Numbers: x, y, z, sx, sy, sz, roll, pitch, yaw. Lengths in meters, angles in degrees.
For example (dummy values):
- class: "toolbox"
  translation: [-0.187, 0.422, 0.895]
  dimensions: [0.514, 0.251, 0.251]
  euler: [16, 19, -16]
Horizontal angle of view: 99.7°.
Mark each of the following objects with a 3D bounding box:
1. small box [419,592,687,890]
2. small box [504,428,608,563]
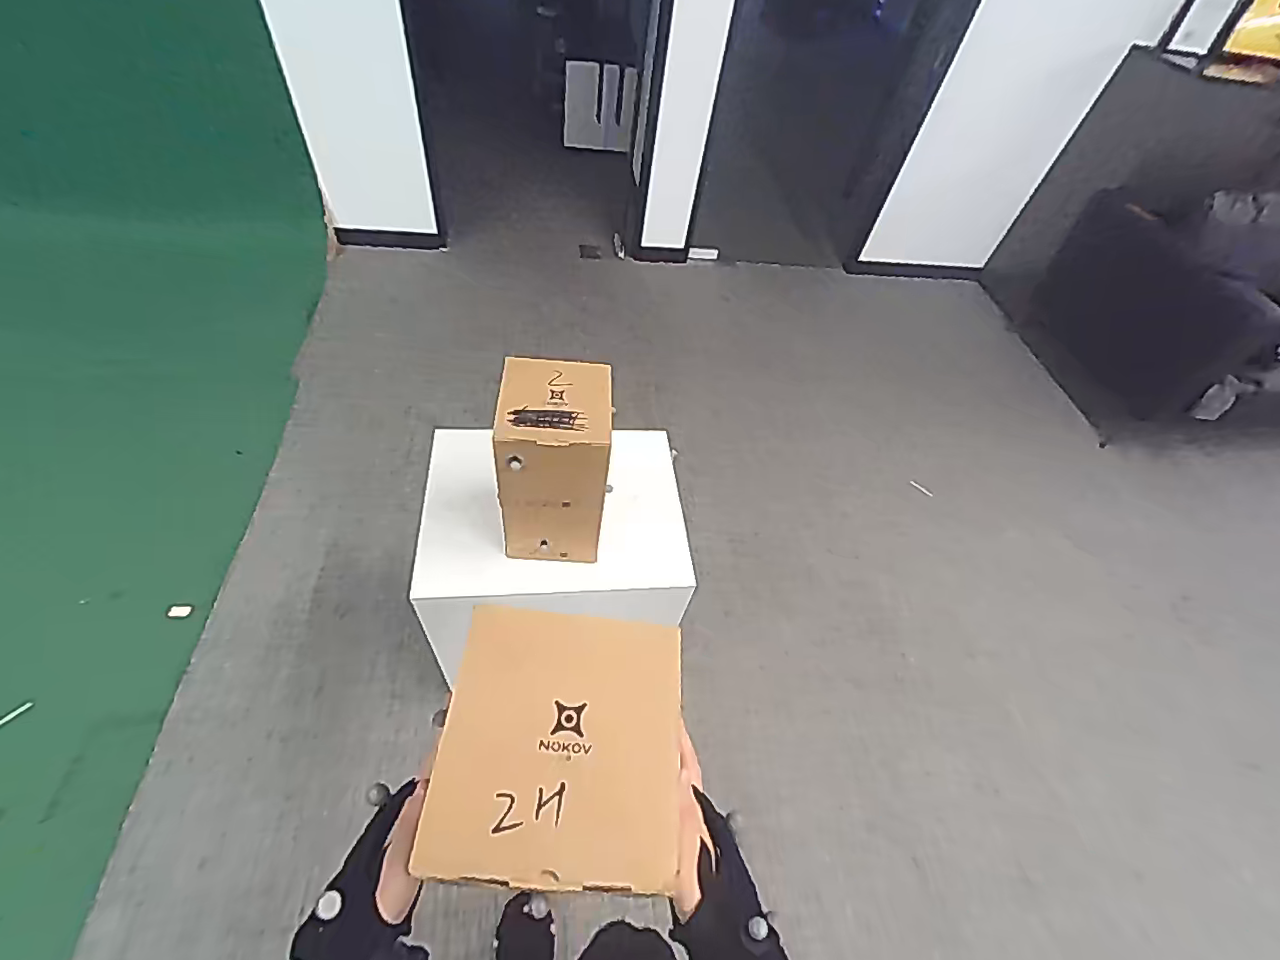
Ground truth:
- class: "small box"
  translation: [-0.061, 0.216, 0.439]
  dimensions: [0.168, 0.176, 0.179]
  euler: [8, 51, -5]
- class: "small box"
  translation: [-0.151, 0.031, 0.987]
  dimensions: [0.168, 0.176, 0.179]
  euler: [4, 51, -6]
